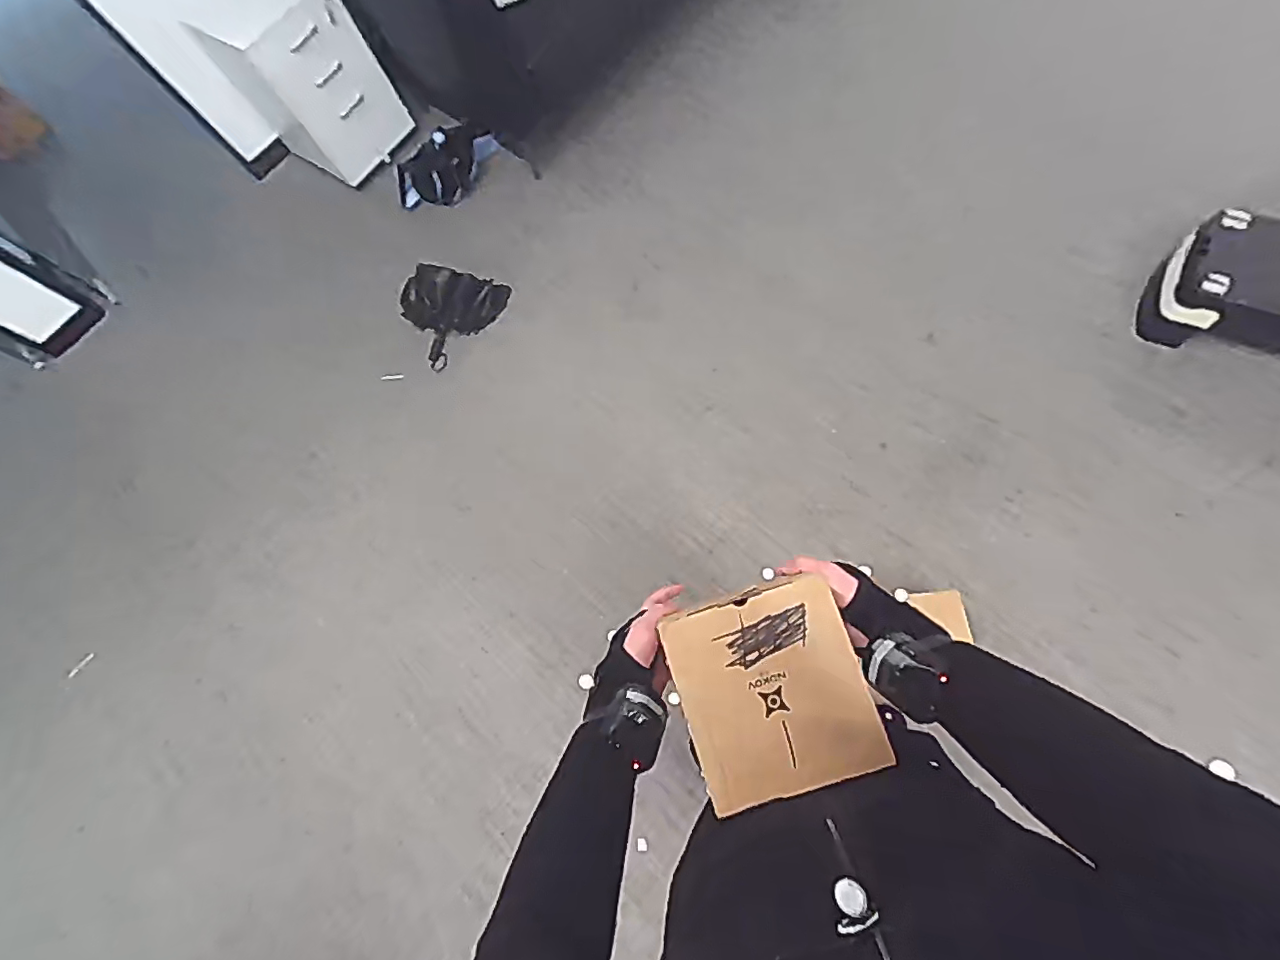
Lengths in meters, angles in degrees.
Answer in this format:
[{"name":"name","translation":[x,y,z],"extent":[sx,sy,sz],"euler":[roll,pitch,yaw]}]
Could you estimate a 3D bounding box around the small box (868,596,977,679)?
[{"name":"small box","translation":[0.650,0.376,1.274],"extent":[0.179,0.176,0.168],"euler":[-8,68,9]}]
